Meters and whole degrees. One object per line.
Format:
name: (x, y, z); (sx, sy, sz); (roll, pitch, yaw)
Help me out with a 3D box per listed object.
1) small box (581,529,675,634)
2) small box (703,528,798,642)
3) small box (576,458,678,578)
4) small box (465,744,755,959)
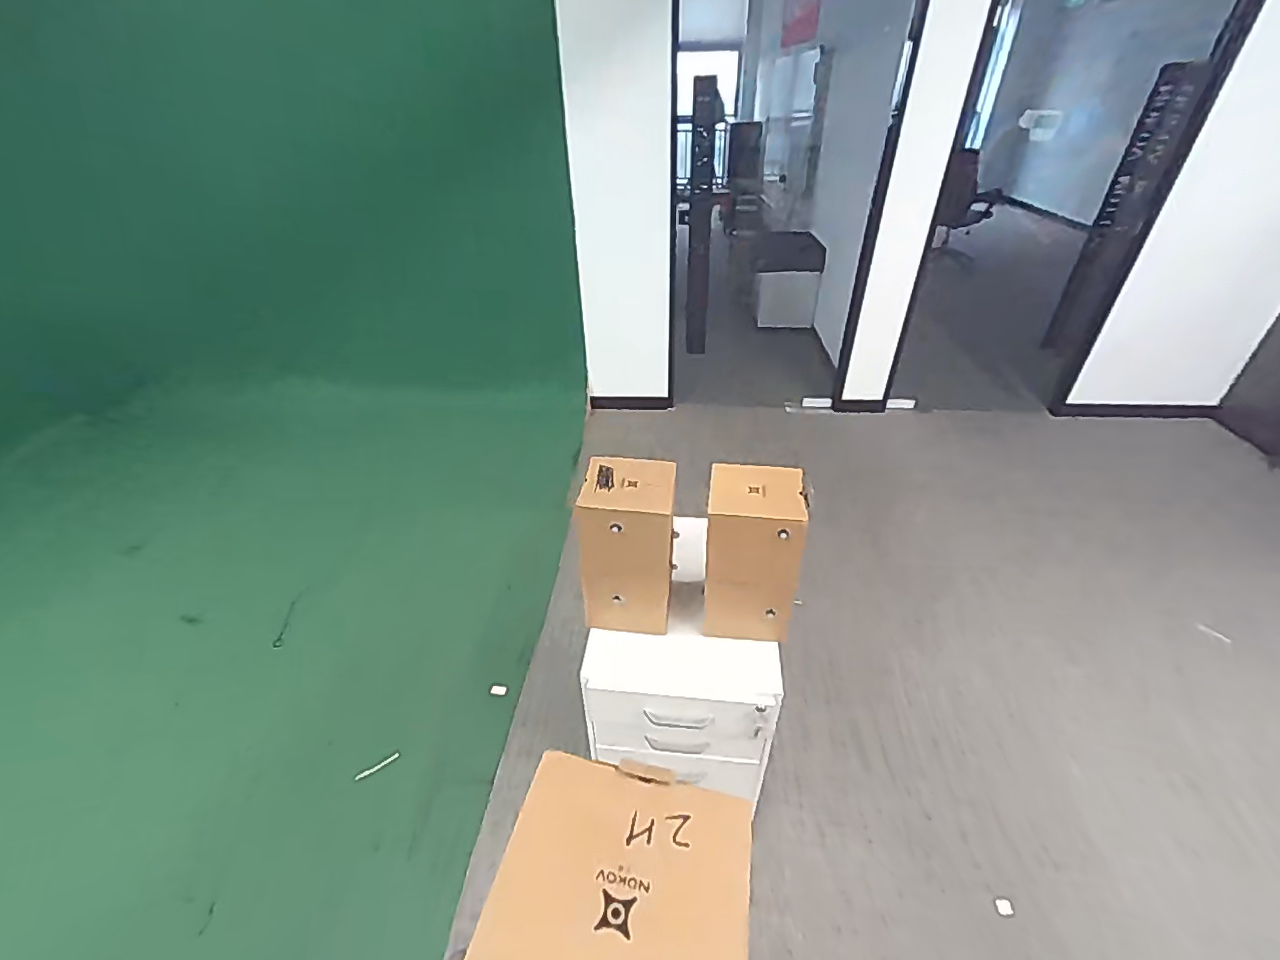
small box: (-0.019, 0.211, 1.159); (0.179, 0.176, 0.168); (4, 37, 6)
small box: (0.226, 0.222, 1.139); (0.179, 0.176, 0.168); (2, 36, 8)
small box: (-0.021, 0.075, 1.065); (0.179, 0.176, 0.168); (5, 36, 5)
small box: (-0.017, 0.335, 0.387); (0.168, 0.176, 0.179); (11, 31, 7)
